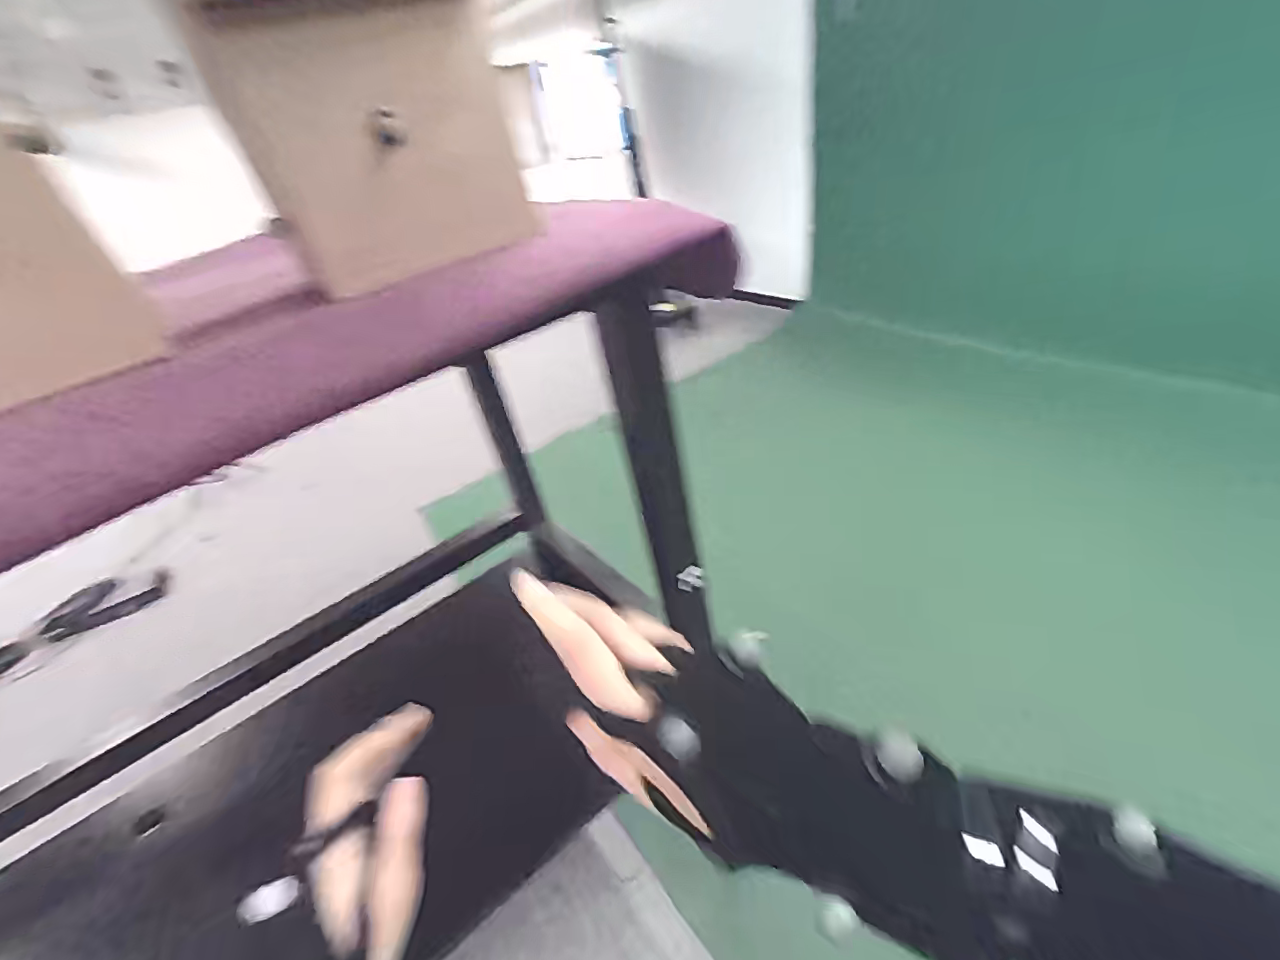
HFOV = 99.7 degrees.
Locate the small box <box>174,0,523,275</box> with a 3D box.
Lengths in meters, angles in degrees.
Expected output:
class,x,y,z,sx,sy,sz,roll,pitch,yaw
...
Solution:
class,x,y,z,sx,sy,sz,roll,pitch,yaw
small box,-0.210,-0.280,0.423,0.179,0.176,0.168,-33,41,-23
